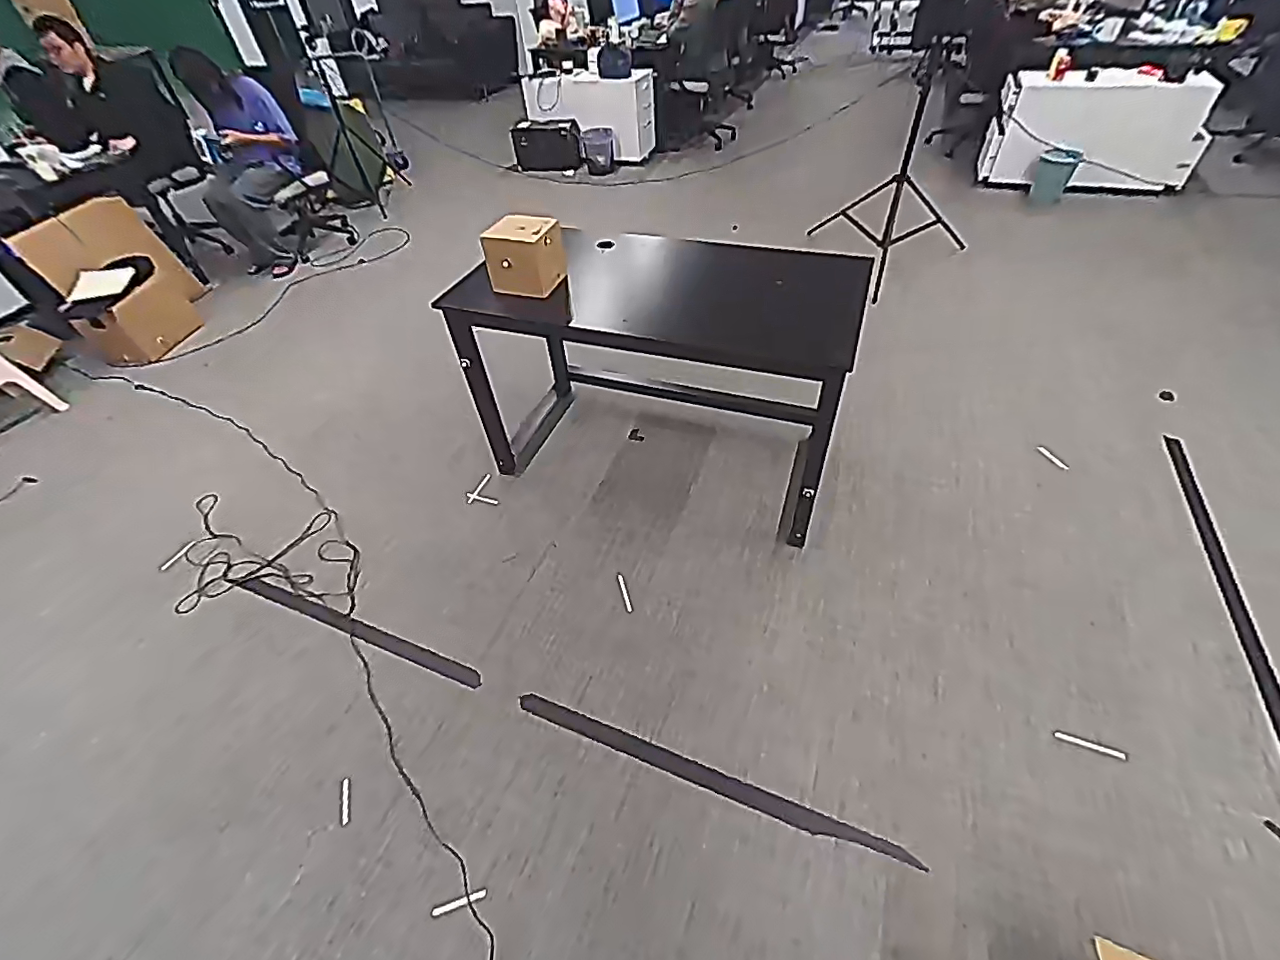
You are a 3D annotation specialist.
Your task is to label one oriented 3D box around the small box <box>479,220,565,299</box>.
[{"bbox_3d":[-0.343,-0.655,1.611,0.179,0.176,0.168,11,48,16],"label":"small box"}]
